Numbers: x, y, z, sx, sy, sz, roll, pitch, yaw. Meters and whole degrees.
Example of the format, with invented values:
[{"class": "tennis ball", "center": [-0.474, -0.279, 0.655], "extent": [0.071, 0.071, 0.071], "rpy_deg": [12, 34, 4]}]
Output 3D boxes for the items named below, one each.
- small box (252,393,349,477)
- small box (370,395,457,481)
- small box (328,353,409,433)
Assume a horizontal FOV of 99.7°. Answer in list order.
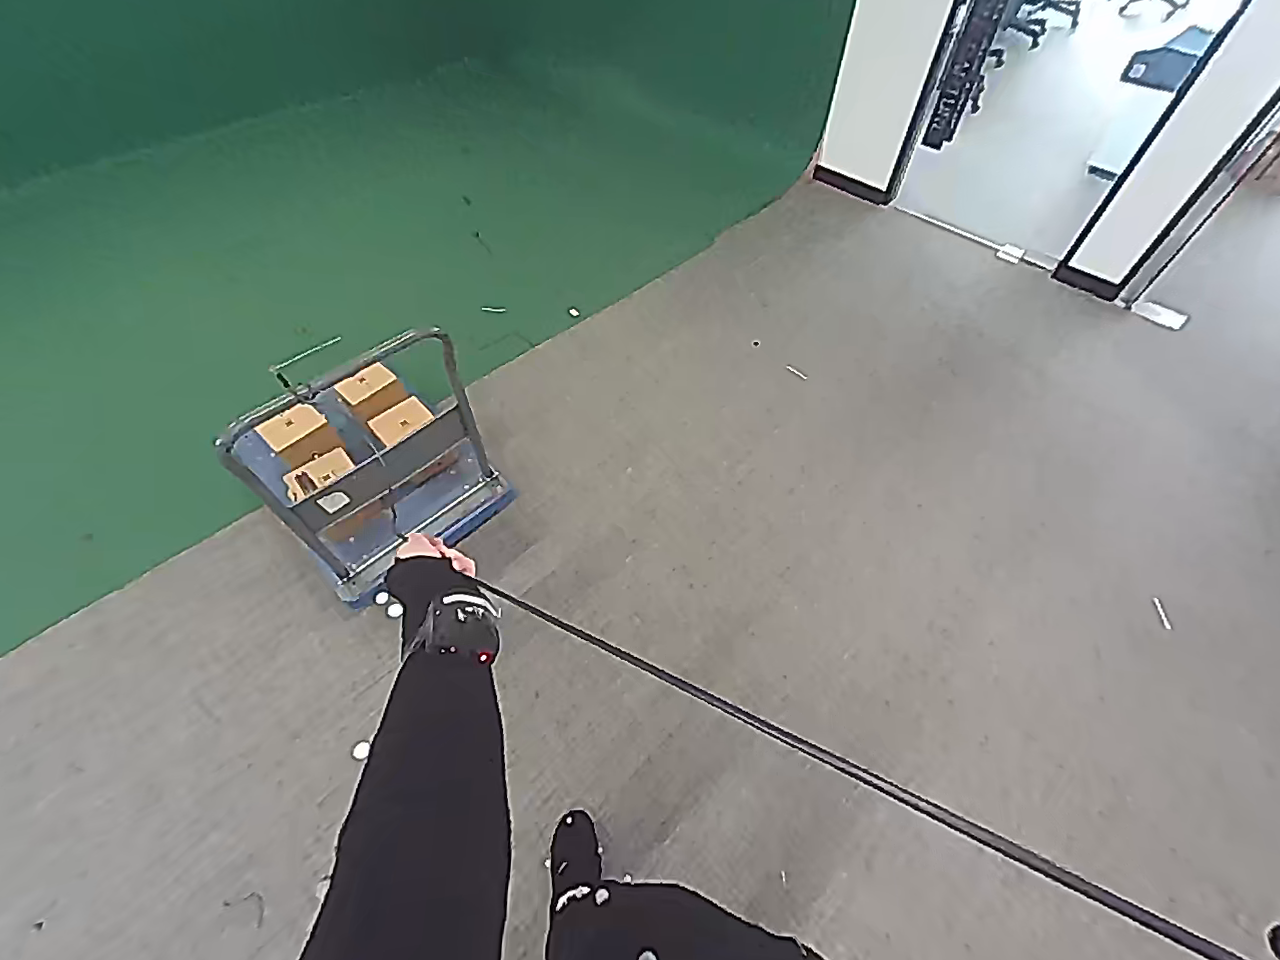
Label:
[{"class": "small box", "center": [-1.068, -0.134, 1.716], "extent": [0.179, 0.176, 0.168], "rpy_deg": [36, 62, 23]}, {"class": "small box", "center": [-0.713, -0.130, 1.713], "extent": [0.168, 0.176, 0.179], "rpy_deg": [-38, 64, -23]}, {"class": "small box", "center": [-0.901, -0.289, 1.823], "extent": [0.179, 0.176, 0.168], "rpy_deg": [37, 64, 22]}]
